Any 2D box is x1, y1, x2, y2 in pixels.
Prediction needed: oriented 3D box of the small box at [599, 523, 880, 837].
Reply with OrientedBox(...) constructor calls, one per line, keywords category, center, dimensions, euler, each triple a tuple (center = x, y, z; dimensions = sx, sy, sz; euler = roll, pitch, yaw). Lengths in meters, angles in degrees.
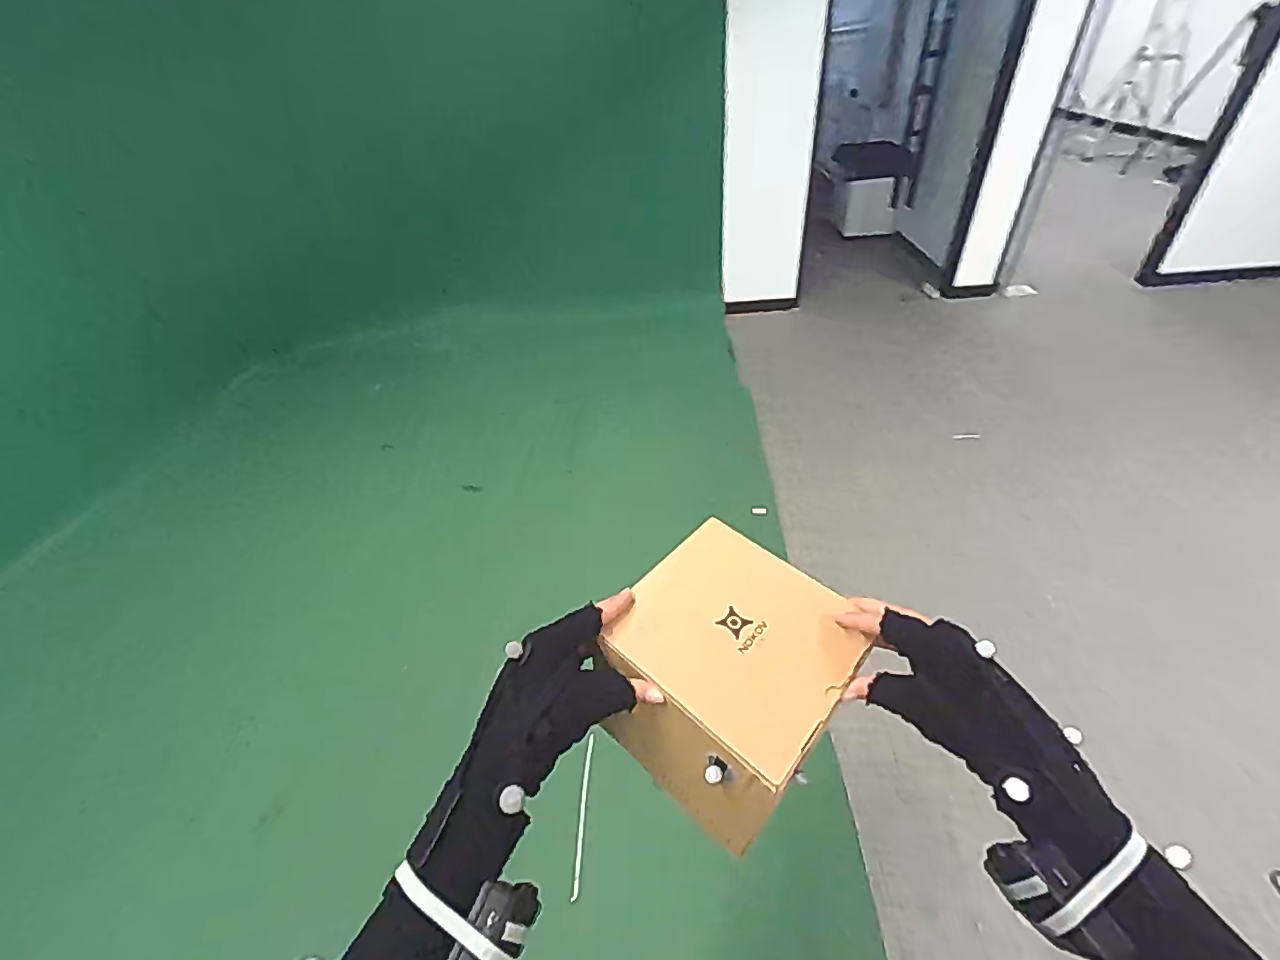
OrientedBox(category="small box", center=(0.077, 0.179, 0.494), dimensions=(0.179, 0.176, 0.168), euler=(34, 50, 28))
